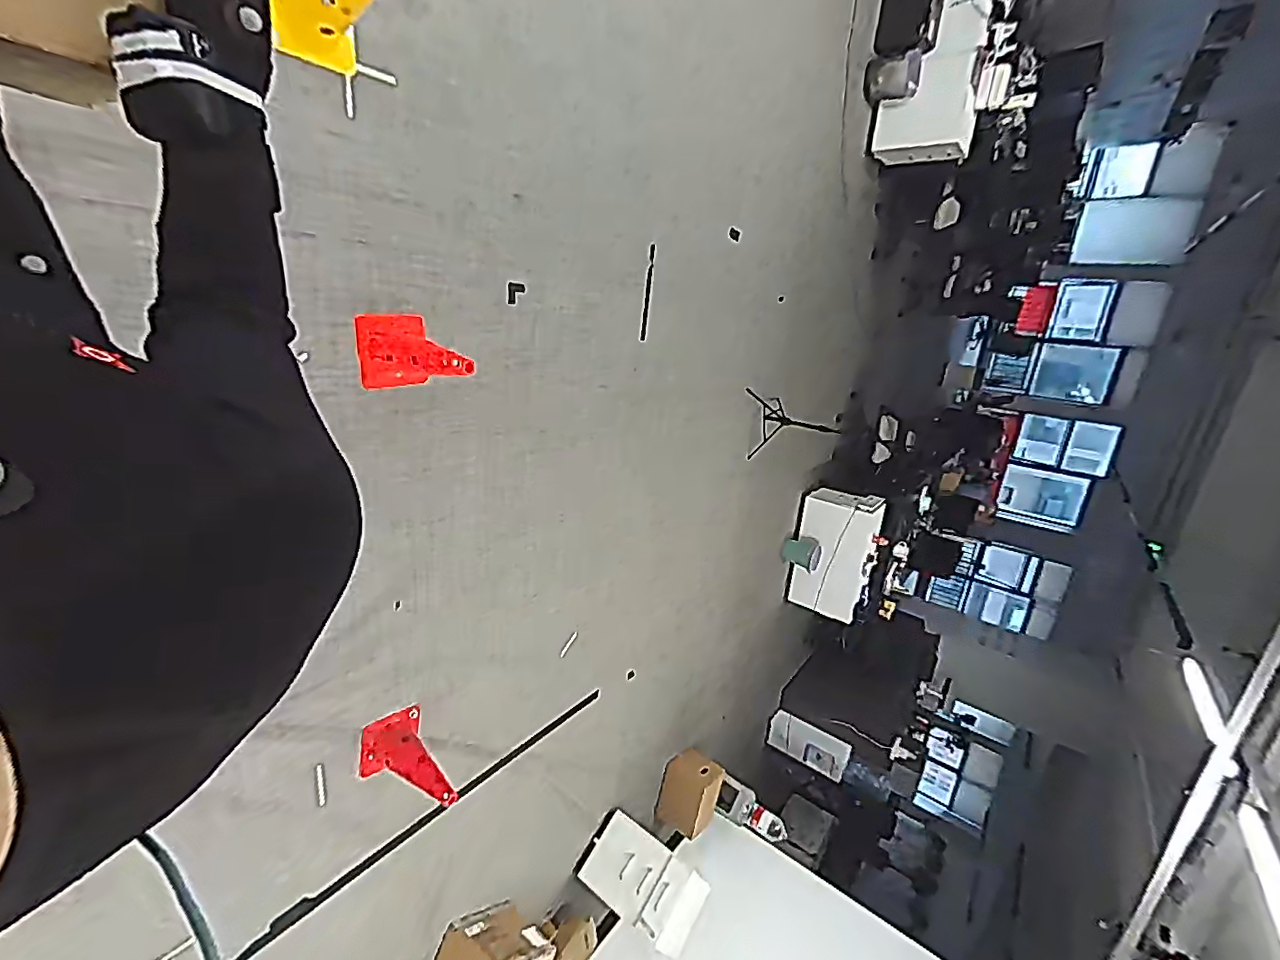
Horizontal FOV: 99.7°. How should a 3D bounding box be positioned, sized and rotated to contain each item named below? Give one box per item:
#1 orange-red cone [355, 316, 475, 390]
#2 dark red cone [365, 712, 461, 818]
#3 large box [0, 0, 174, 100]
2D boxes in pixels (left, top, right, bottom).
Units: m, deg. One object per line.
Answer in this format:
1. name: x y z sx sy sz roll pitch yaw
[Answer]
1. orange-red cone: -0.560 -0.319 1.419 0.198 0.360 0.199 -20 119 -50
2. dark red cone: -0.698 0.938 1.724 0.201 0.394 0.202 -7 110 -52
3. large box: -0.544 -0.442 0.265 0.408 0.320 0.320 -13 121 -51
